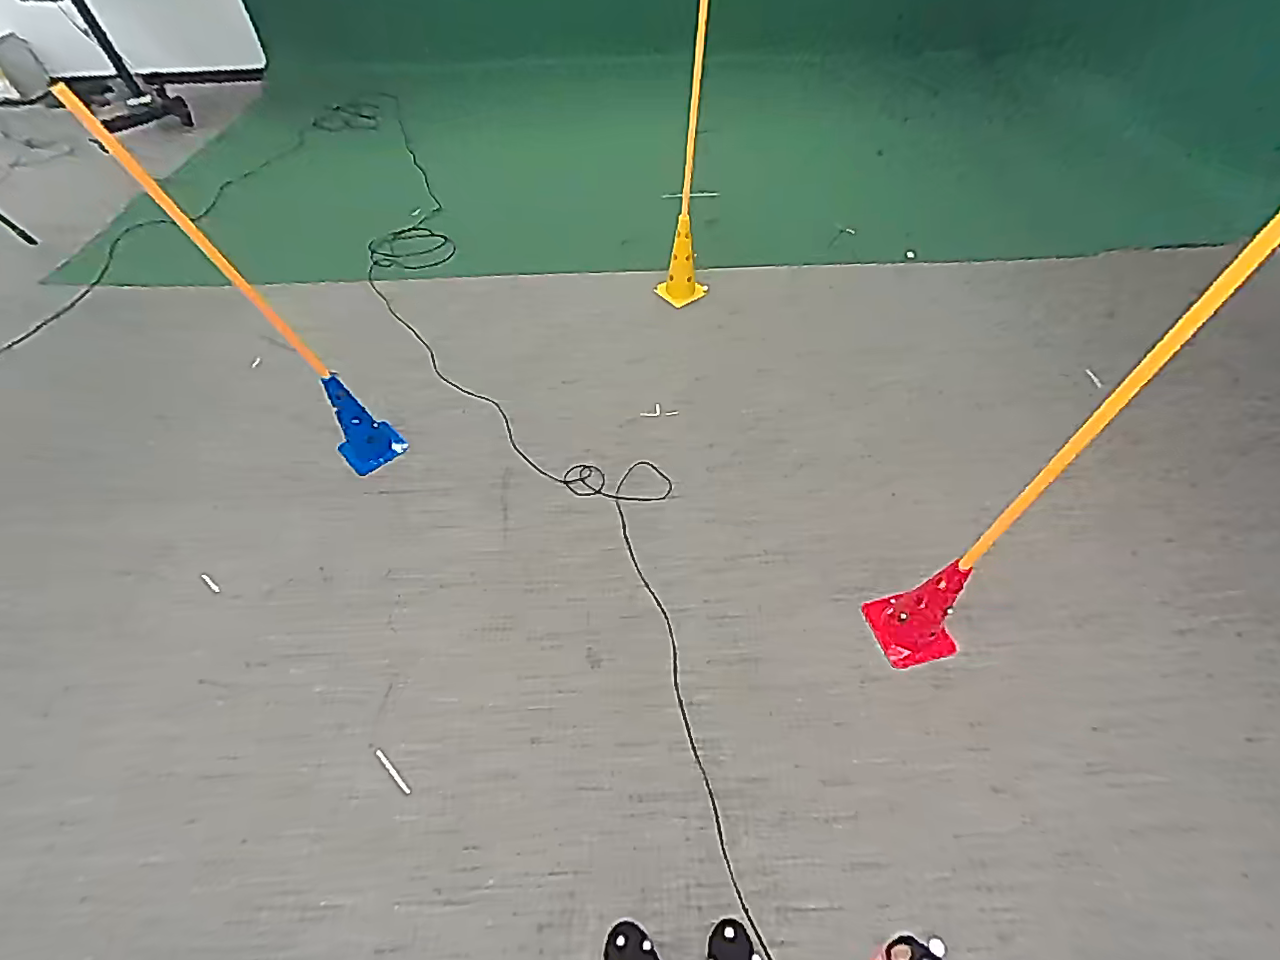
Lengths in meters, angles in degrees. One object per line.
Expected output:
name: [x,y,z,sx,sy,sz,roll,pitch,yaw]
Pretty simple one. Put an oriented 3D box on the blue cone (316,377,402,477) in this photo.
blue cone: [-0.991,-0.199,1.845,0.192,0.380,0.193,37,64,26]
